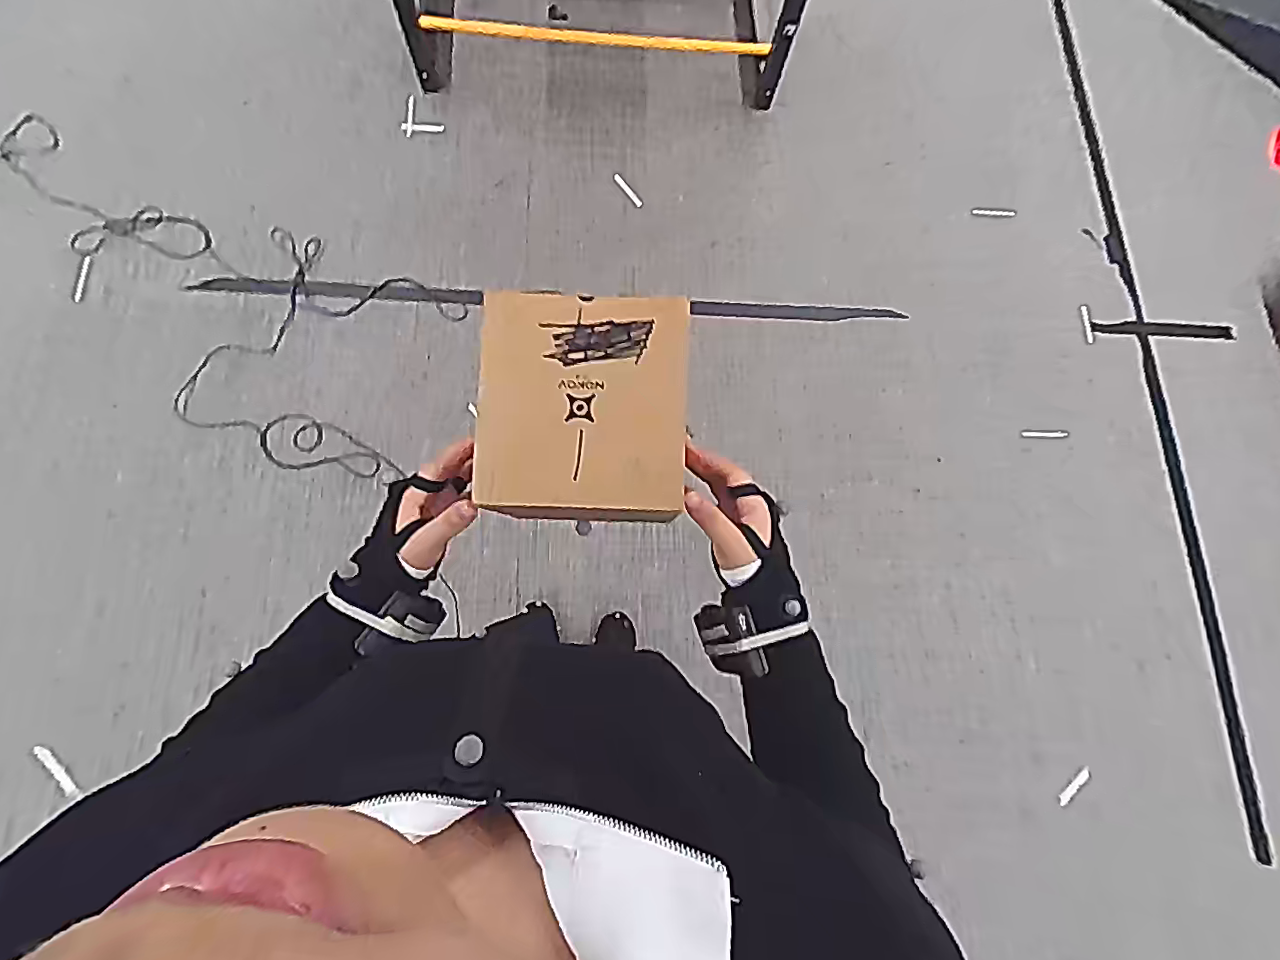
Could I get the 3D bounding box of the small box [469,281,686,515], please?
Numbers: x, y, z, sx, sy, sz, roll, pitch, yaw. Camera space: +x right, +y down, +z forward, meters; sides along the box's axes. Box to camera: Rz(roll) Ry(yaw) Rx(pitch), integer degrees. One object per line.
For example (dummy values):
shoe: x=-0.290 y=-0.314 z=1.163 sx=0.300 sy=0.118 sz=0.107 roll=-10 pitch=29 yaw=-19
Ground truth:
small box: x=-0.048 y=-0.062 z=0.504 sx=0.168 sy=0.176 sz=0.179 roll=1 pitch=83 yaw=0
